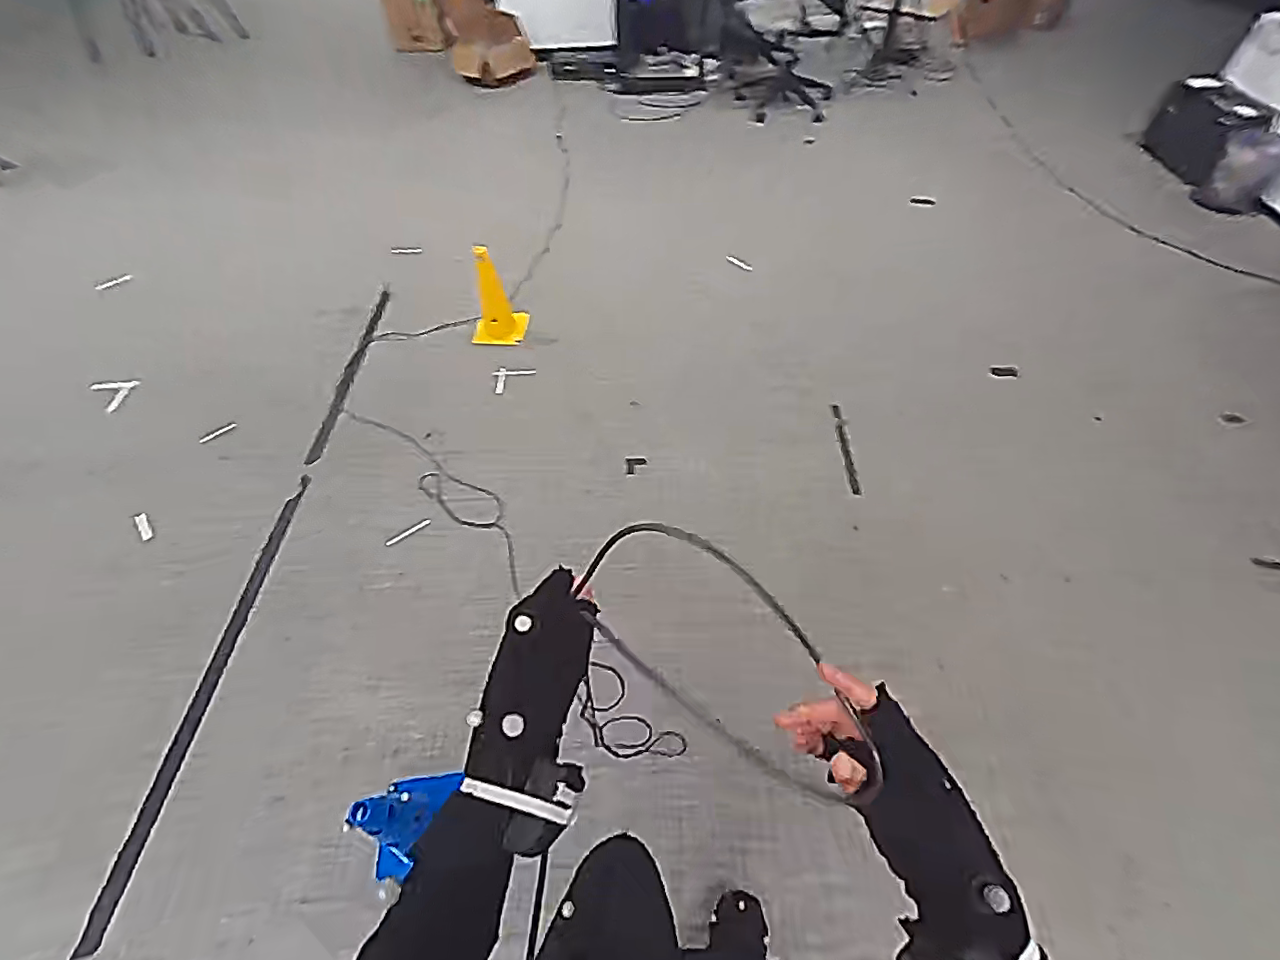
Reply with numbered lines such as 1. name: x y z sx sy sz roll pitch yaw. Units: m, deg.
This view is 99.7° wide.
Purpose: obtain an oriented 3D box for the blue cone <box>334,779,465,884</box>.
1. blue cone: -0.499 0.693 1.089 0.192 0.380 0.193 -5 54 -2
